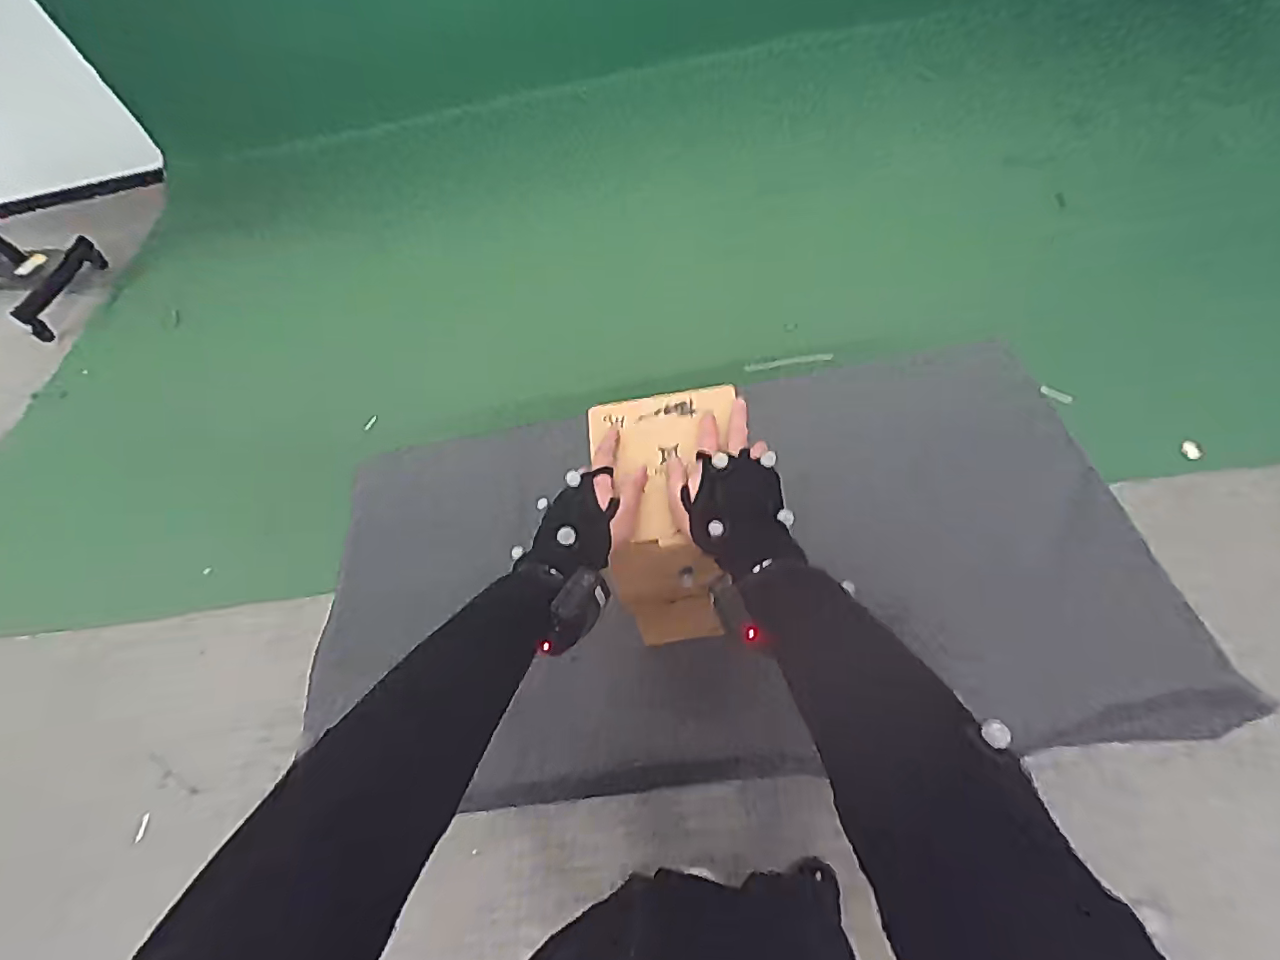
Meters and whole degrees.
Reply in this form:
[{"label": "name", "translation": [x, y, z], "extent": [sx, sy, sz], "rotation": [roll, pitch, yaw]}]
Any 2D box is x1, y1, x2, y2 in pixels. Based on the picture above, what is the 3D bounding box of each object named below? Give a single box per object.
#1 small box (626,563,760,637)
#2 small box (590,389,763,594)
[{"label": "small box", "translation": [0.067, 0.111, 0.762], "extent": [0.168, 0.176, 0.179], "rotation": [-10, 57, 2]}, {"label": "small box", "translation": [0.041, 0.024, 0.627], "extent": [0.168, 0.176, 0.179], "rotation": [-8, 60, 3]}]
